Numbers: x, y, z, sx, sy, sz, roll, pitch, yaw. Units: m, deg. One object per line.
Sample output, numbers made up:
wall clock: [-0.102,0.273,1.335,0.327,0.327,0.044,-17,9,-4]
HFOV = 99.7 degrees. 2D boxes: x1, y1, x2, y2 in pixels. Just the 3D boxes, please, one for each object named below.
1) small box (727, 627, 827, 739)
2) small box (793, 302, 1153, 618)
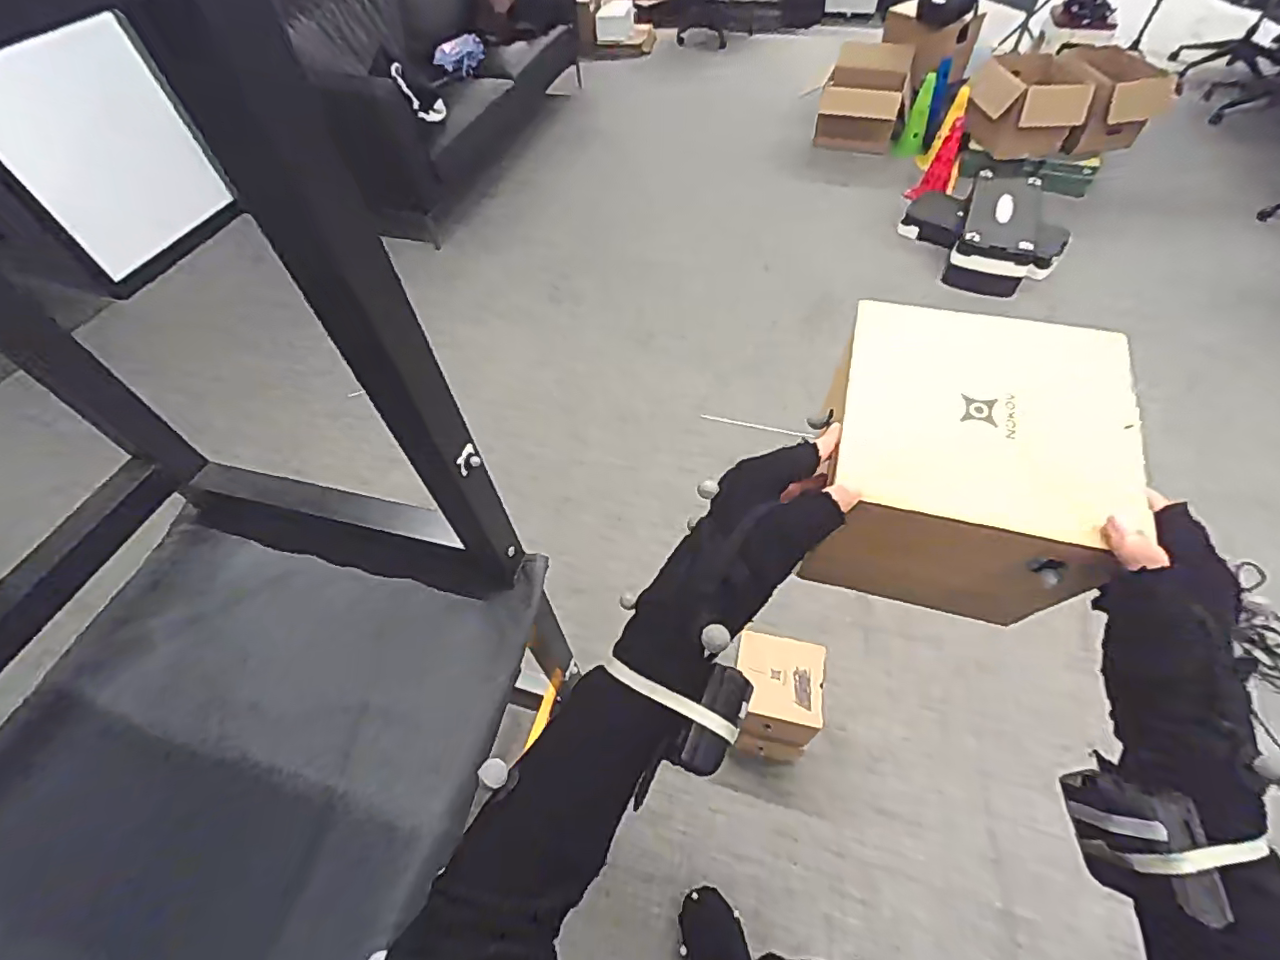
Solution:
small box: [0.288,0.437,1.152,0.179,0.176,0.168,9,56,12]
small box: [0.223,-0.006,0.411,0.179,0.176,0.168,12,67,12]
